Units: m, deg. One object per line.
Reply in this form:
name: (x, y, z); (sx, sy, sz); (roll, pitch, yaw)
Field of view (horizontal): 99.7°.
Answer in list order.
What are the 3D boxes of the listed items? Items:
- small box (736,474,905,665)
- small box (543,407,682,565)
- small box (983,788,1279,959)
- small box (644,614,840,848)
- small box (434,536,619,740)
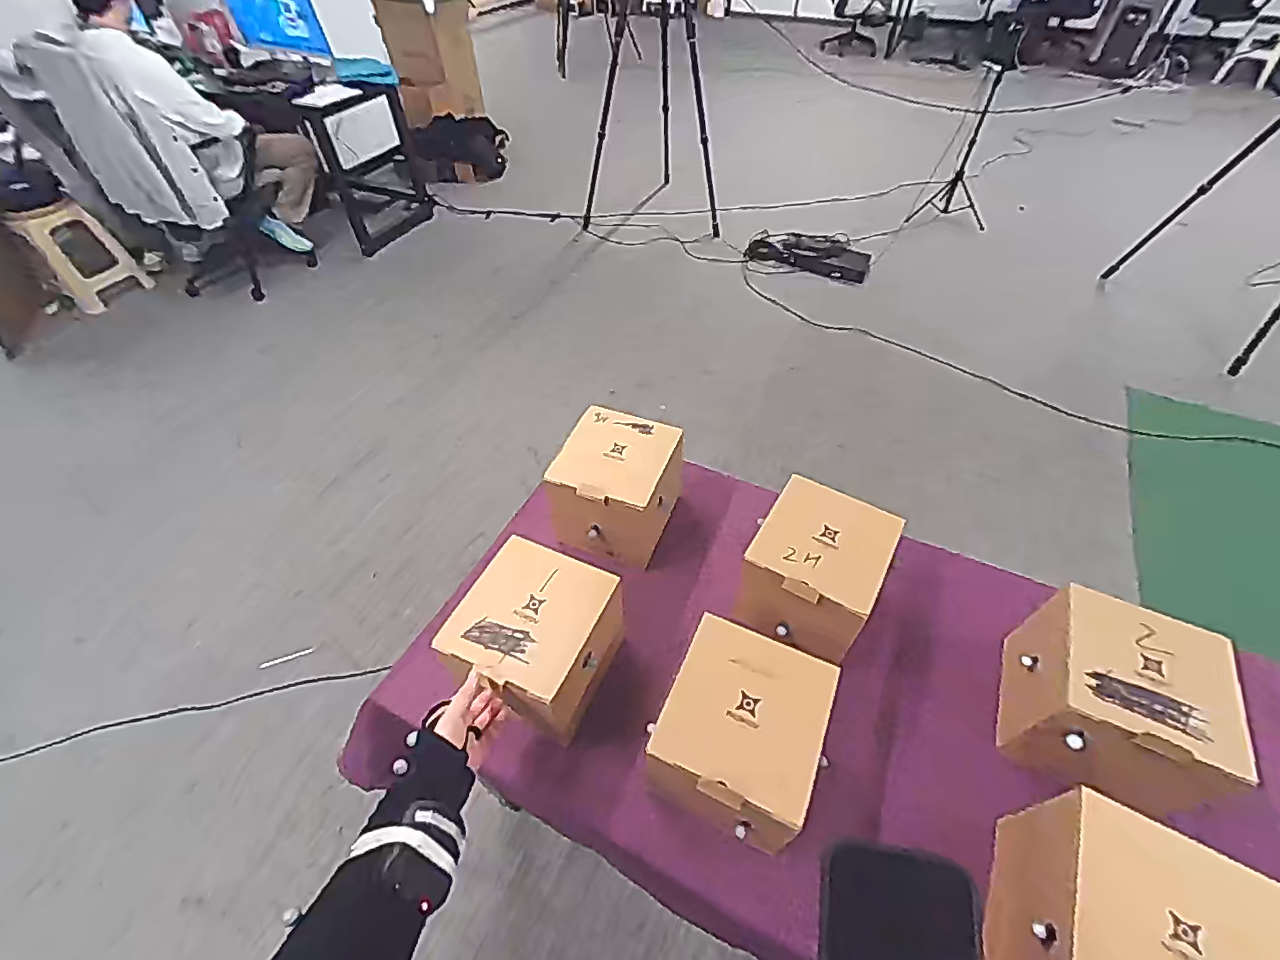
small box: (0.250, 0.130, 0.780); (0.168, 0.176, 0.179); (25, 55, 22)
small box: (-0.035, 0.013, 0.888); (0.168, 0.176, 0.179); (17, 53, 14)
small box: (0.456, 0.437, 0.510); (0.168, 0.176, 0.179); (24, 54, 20)
small box: (0.116, 0.298, 0.639); (0.168, 0.176, 0.179); (20, 51, 17)
small box: (-0.133, 0.212, 0.718); (0.168, 0.176, 0.179); (19, 51, 16)
